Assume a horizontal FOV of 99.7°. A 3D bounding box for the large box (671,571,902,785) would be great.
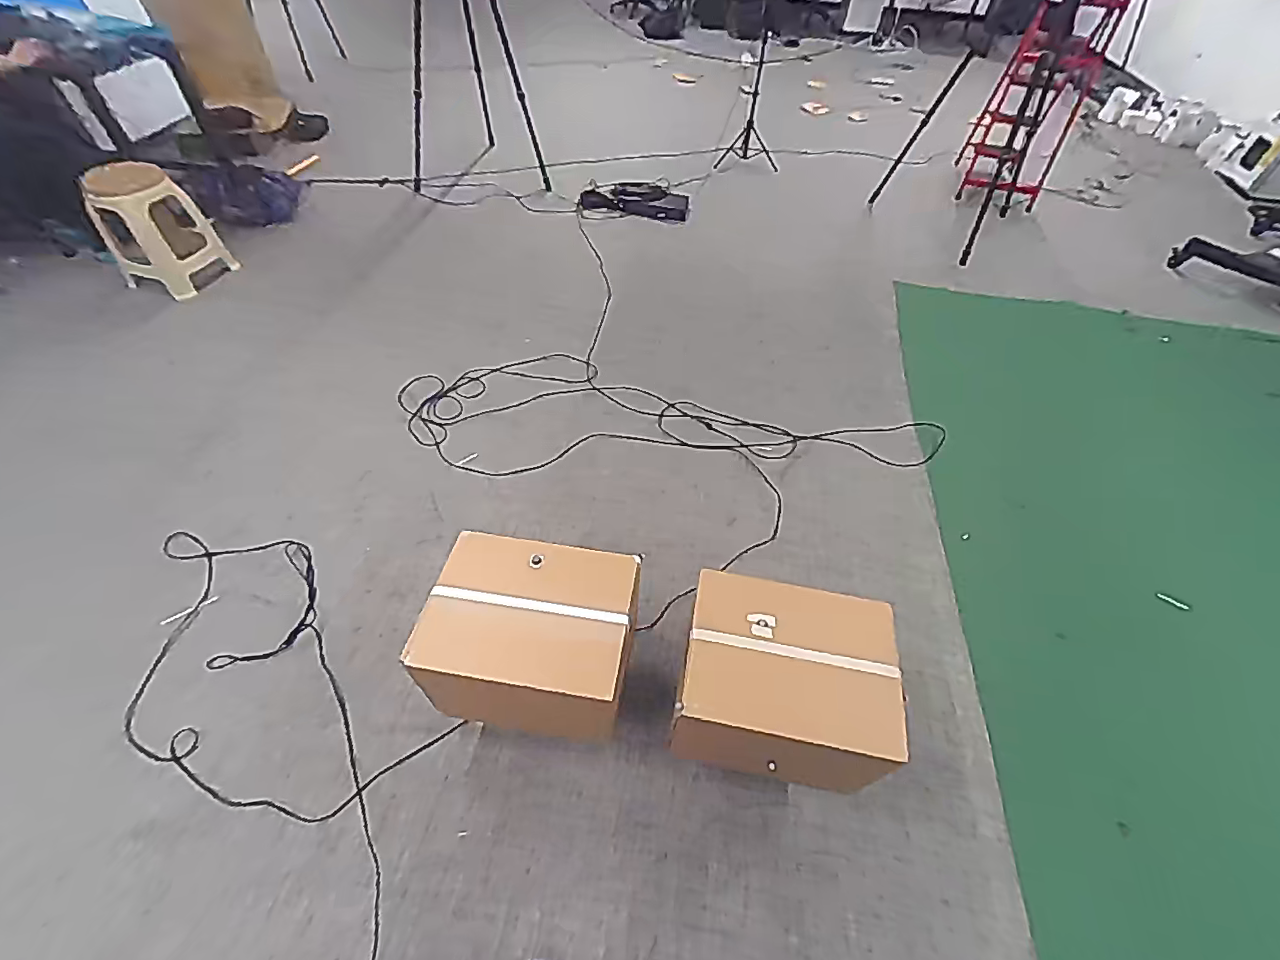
[{"bbox_3d":[0.296,0.437,1.183,0.408,0.320,0.320,10,51,6],"label":"large box"}]
